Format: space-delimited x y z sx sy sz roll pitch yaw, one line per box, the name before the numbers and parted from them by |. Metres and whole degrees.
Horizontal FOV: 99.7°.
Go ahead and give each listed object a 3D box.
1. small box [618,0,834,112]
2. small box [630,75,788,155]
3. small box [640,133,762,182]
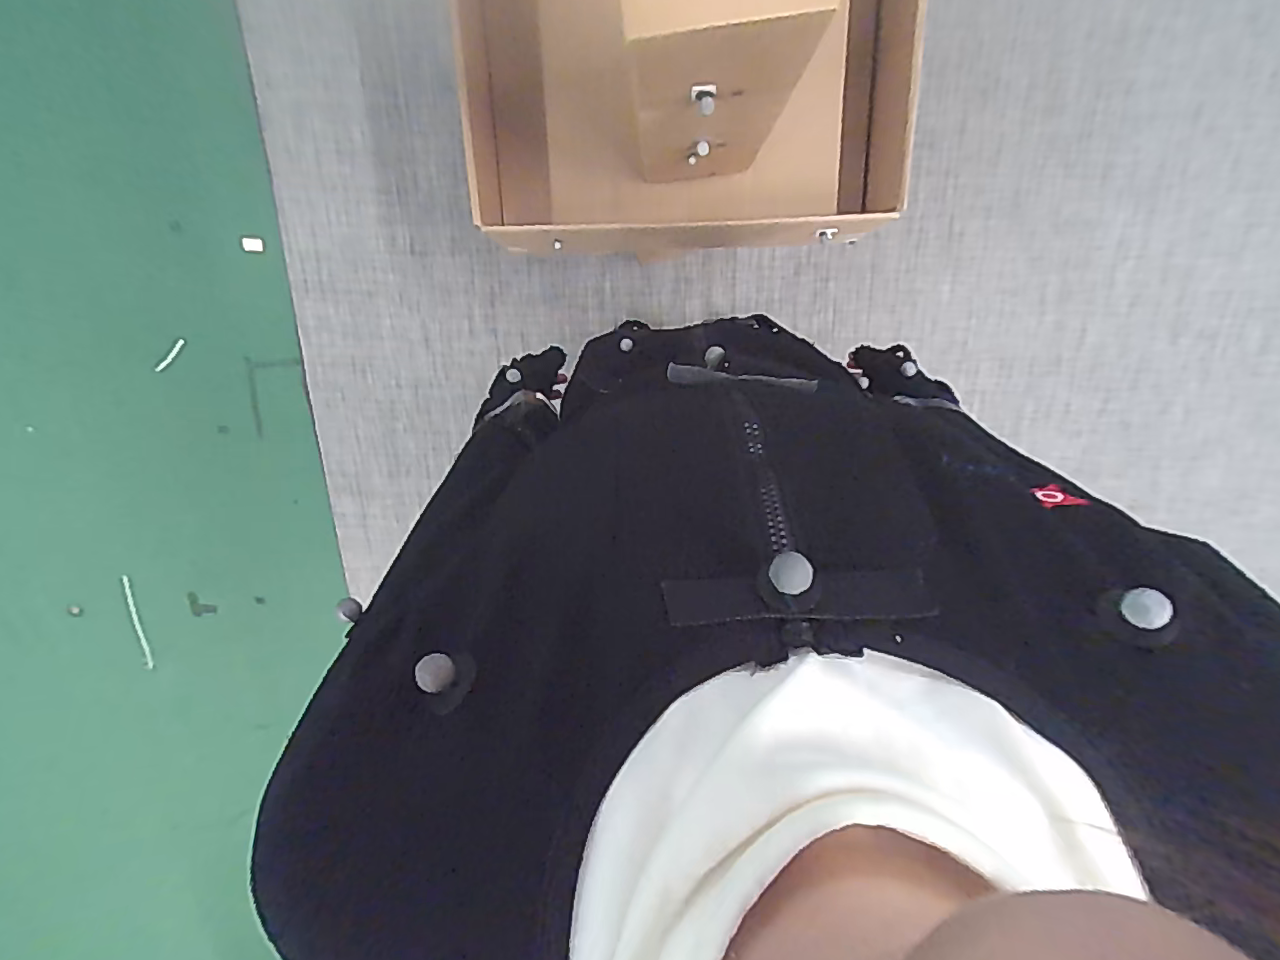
small box | 0.062 -0.456 0.467 0.168 0.176 0.179 -5 107 5
small box | 0.069 -0.503 0.622 0.168 0.176 0.179 -5 107 4
small box | 0.078 -0.554 0.777 0.168 0.176 0.179 -5 105 6
